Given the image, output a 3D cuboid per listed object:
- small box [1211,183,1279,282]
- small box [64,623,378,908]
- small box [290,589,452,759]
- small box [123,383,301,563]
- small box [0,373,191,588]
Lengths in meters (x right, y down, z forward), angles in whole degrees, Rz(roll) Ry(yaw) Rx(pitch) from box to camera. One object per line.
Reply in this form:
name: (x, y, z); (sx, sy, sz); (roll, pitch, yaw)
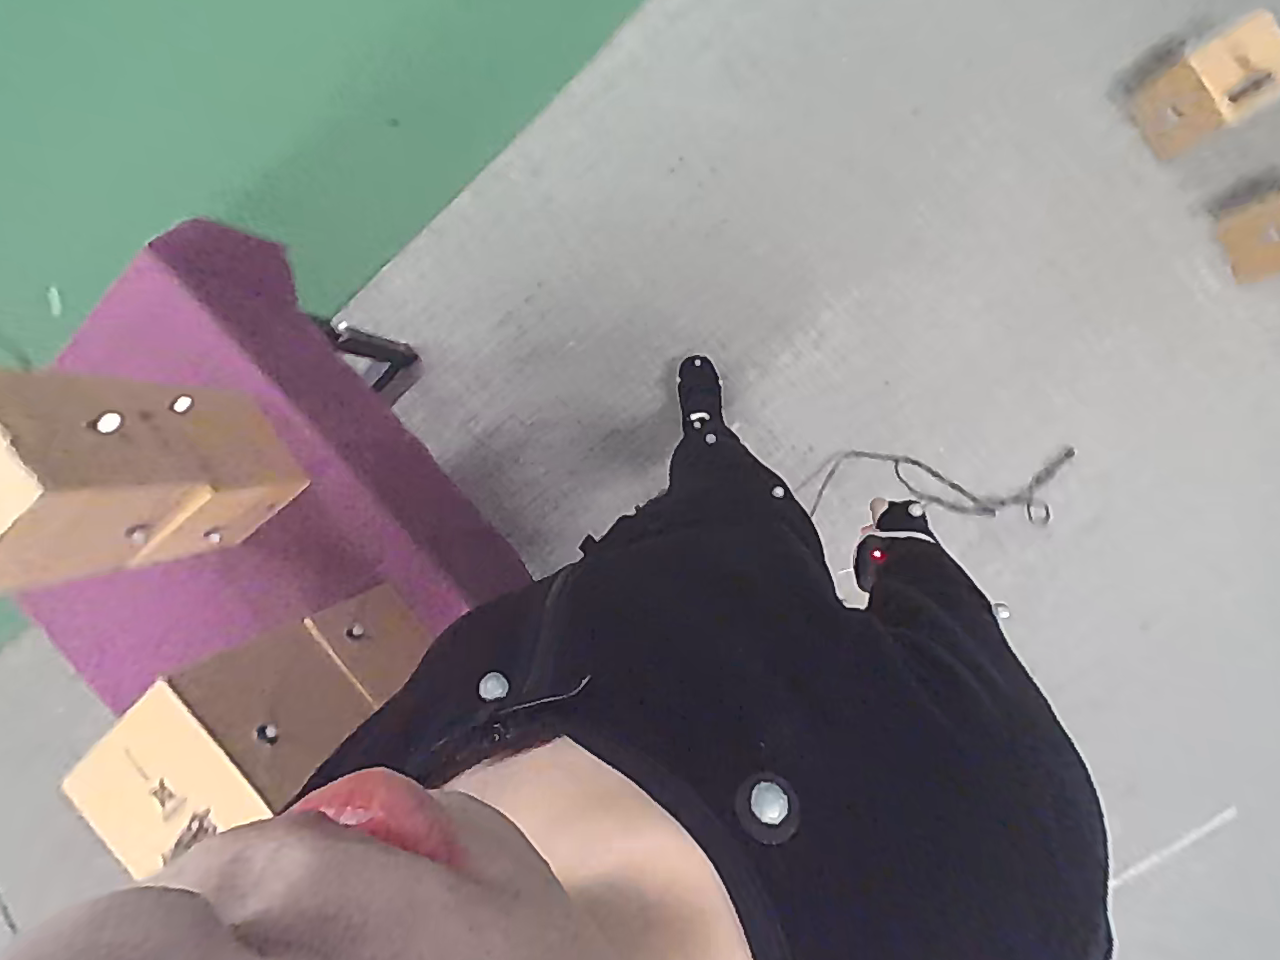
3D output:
small box: (1.424, -0.564, 1.178); (0.168, 0.176, 0.179); (-23, 91, 9)
small box: (-0.430, 0.287, 0.585); (0.168, 0.176, 0.179); (-43, 87, 9)
small box: (-0.402, 0.271, 0.747); (0.168, 0.176, 0.179); (-40, 88, 10)
small box: (-0.630, -0.015, 0.758); (0.168, 0.176, 0.179); (-36, 88, 9)
small box: (-0.655, -0.005, 0.596); (0.179, 0.176, 0.168); (-40, 88, 8)
